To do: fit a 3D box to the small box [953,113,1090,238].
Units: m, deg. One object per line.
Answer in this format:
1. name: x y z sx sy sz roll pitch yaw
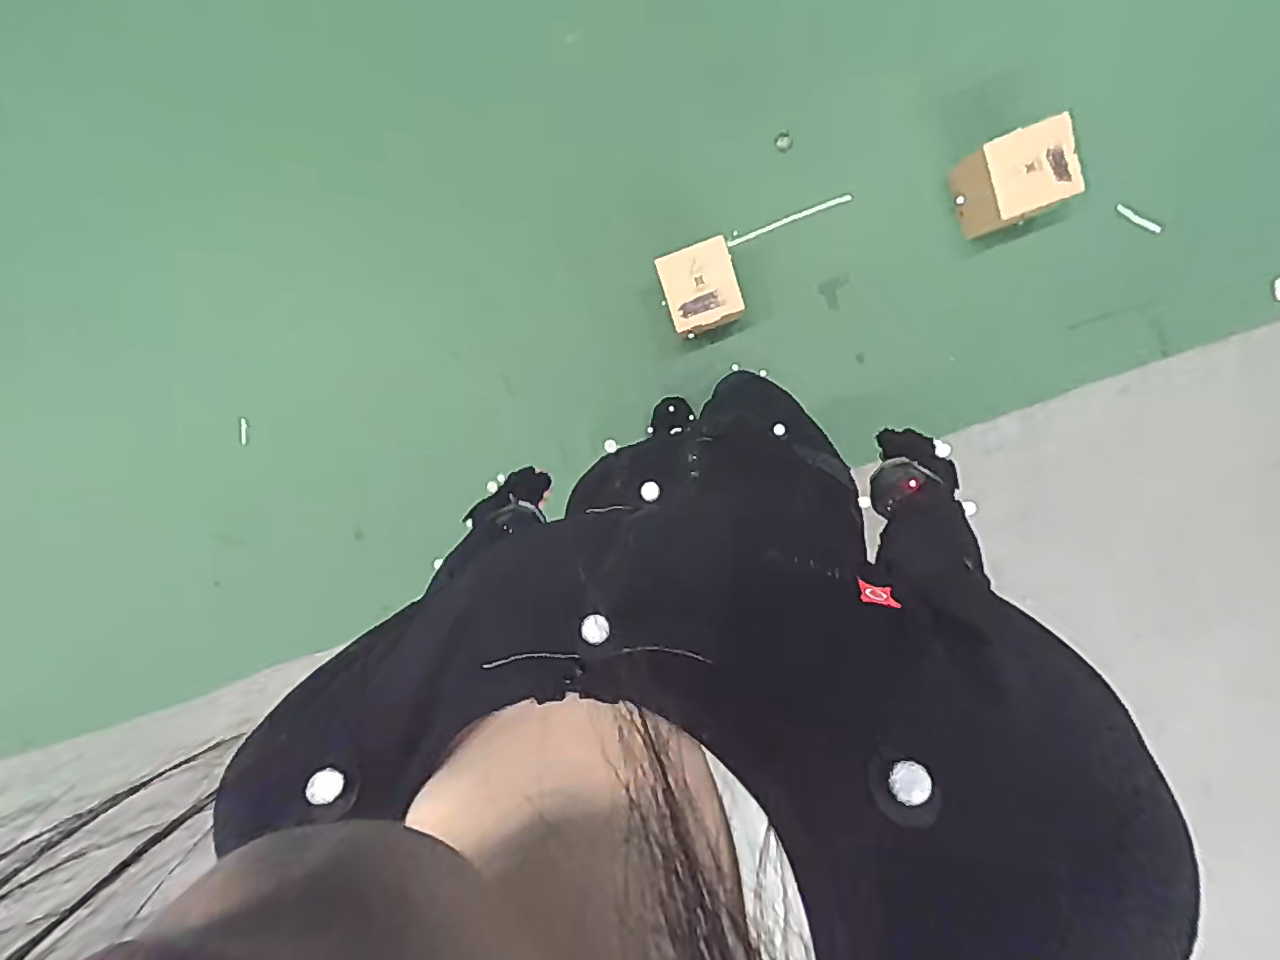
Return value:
1. small box: 0.842 -0.669 1.209 0.179 0.176 0.168 -18 97 8
